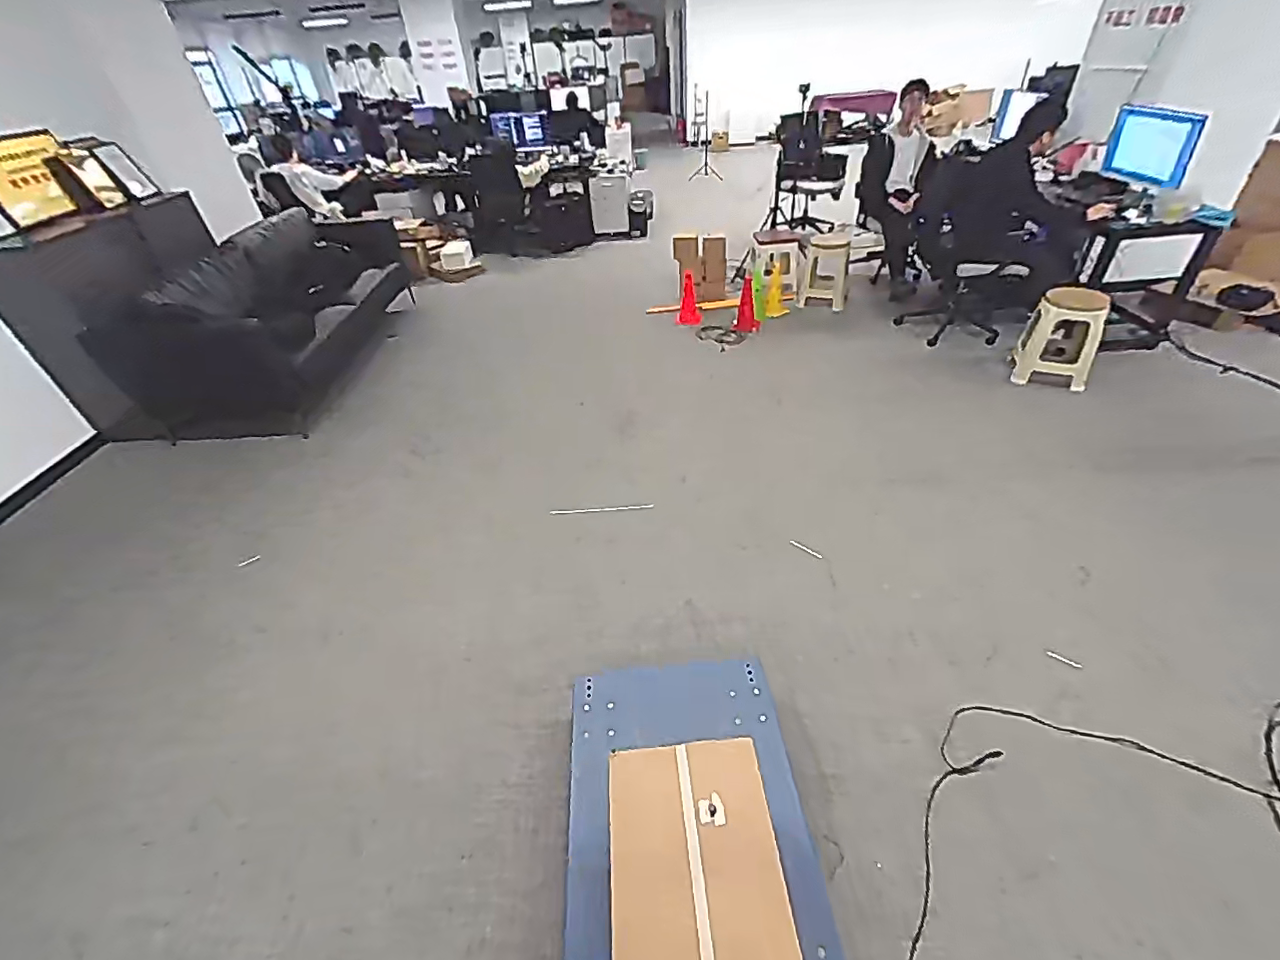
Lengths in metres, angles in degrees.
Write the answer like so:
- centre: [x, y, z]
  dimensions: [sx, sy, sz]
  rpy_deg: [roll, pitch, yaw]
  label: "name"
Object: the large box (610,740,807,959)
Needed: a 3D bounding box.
- centre: [0.117, 0.811, 1.092]
  dimensions: [0.320, 0.320, 0.408]
  rpy_deg: [-6, 38, 0]
  label: "large box"
